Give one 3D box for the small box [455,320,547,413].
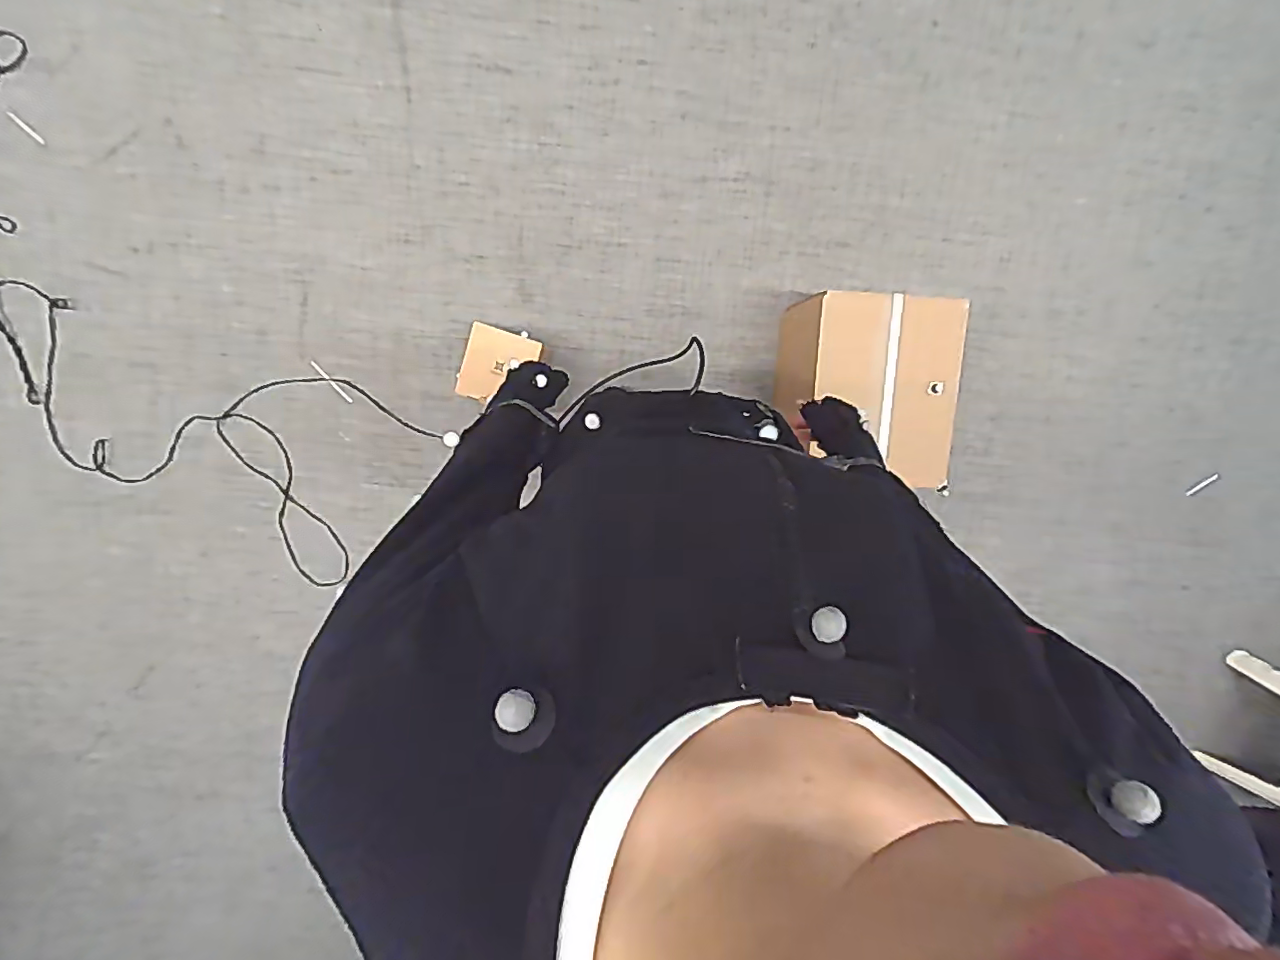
[{"bbox_3d":[-0.335,-0.278,1.339,0.168,0.176,0.179,17,100,-5],"label":"small box"}]
